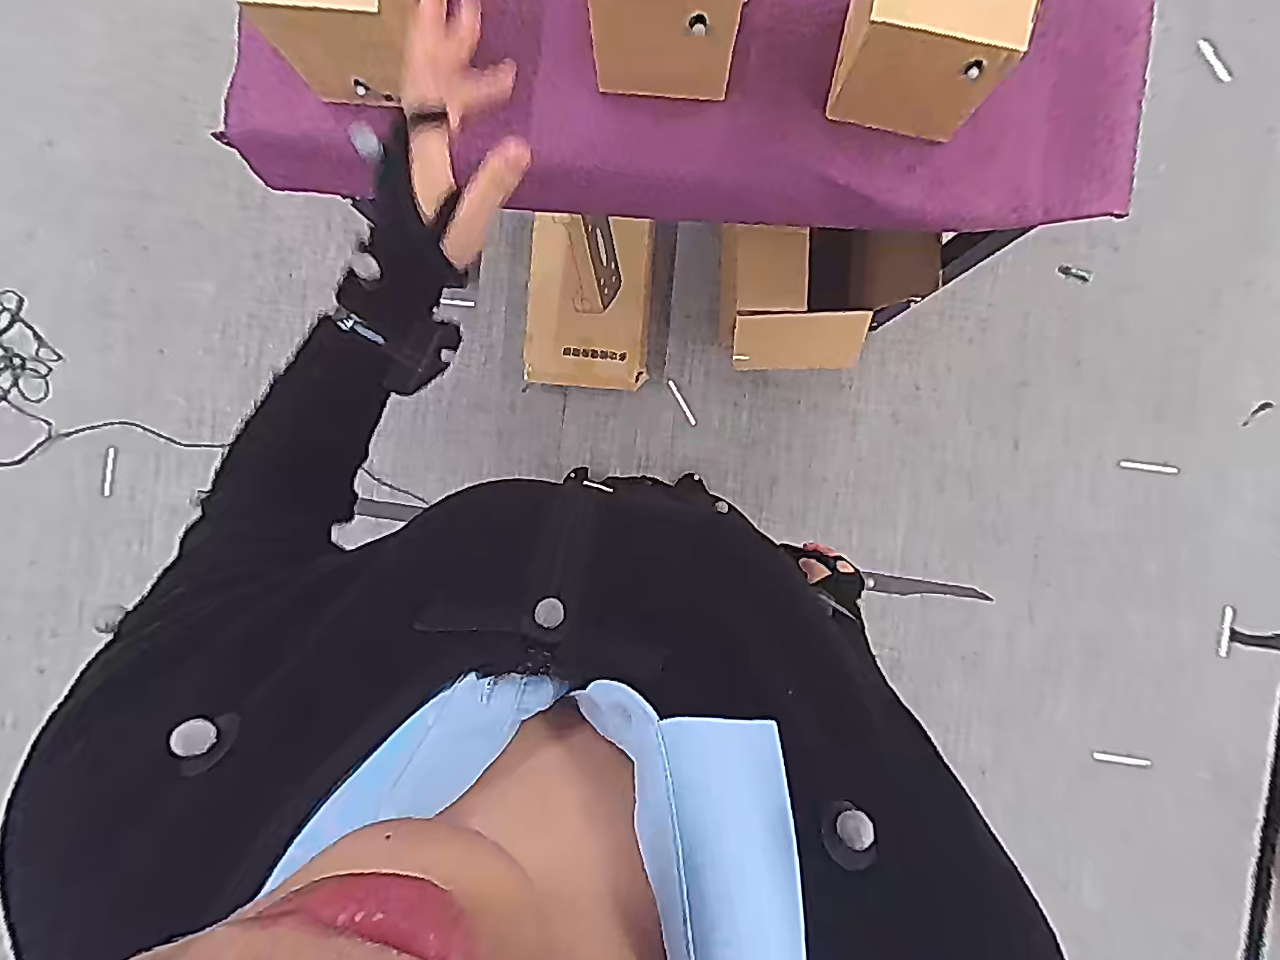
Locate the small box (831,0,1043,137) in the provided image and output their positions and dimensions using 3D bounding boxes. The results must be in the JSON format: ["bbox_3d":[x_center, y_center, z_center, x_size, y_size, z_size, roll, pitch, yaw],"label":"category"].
[{"bbox_3d":[0.354,-0.557,0.658,0.179,0.176,0.168,12,91,1],"label":"small box"}]

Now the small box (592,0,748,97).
[{"bbox_3d":[0.040,-0.610,0.663,0.179,0.176,0.168,5,89,1],"label":"small box"}]
